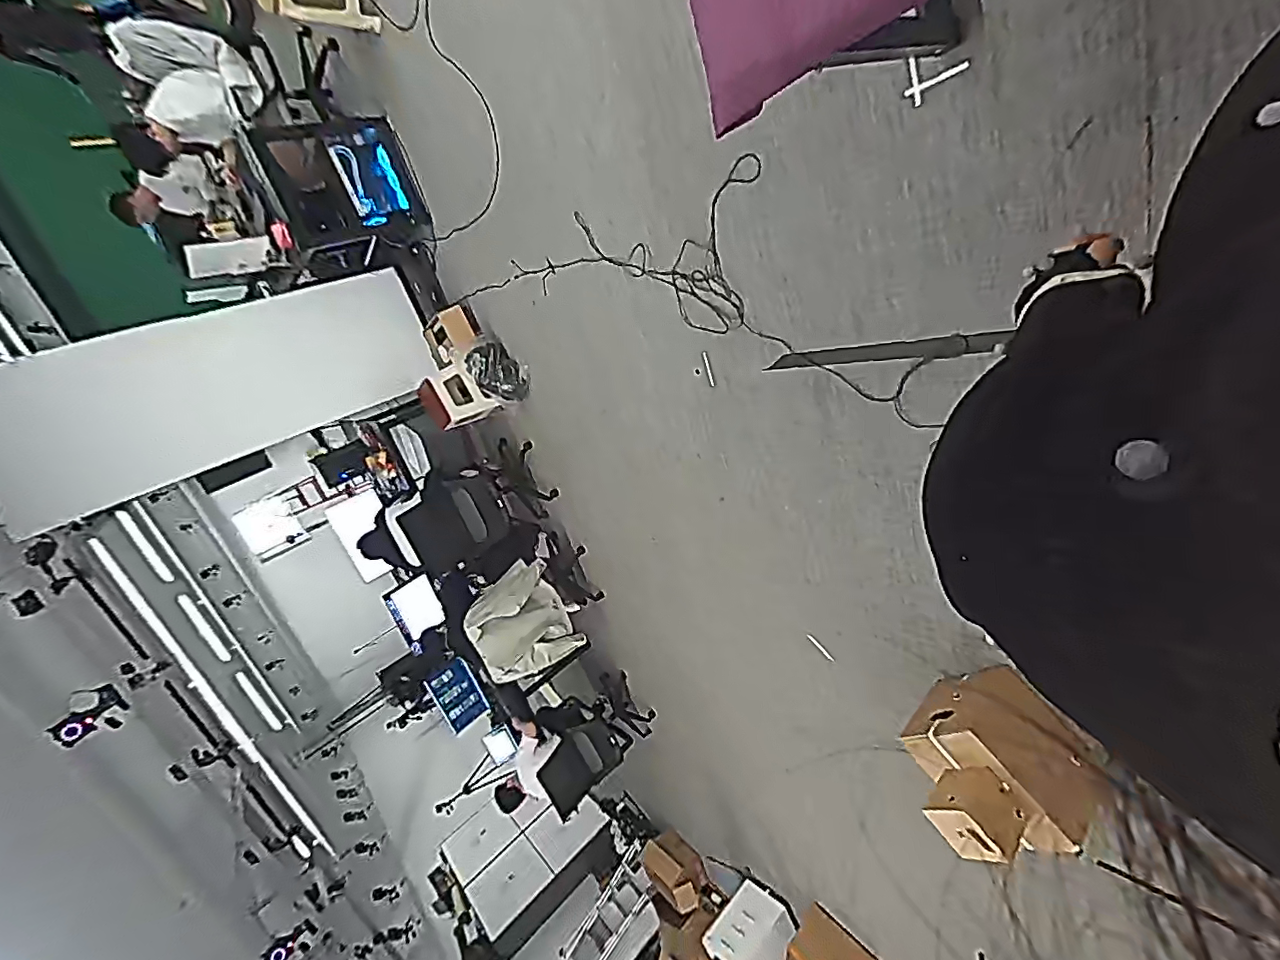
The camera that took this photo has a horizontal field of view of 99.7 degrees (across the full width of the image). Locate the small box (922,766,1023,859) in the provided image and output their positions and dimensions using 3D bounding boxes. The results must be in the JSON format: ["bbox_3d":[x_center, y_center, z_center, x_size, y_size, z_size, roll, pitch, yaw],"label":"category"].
[{"bbox_3d":[0.989,0.974,1.597,0.168,0.176,0.179,50,148,13],"label":"small box"}]
